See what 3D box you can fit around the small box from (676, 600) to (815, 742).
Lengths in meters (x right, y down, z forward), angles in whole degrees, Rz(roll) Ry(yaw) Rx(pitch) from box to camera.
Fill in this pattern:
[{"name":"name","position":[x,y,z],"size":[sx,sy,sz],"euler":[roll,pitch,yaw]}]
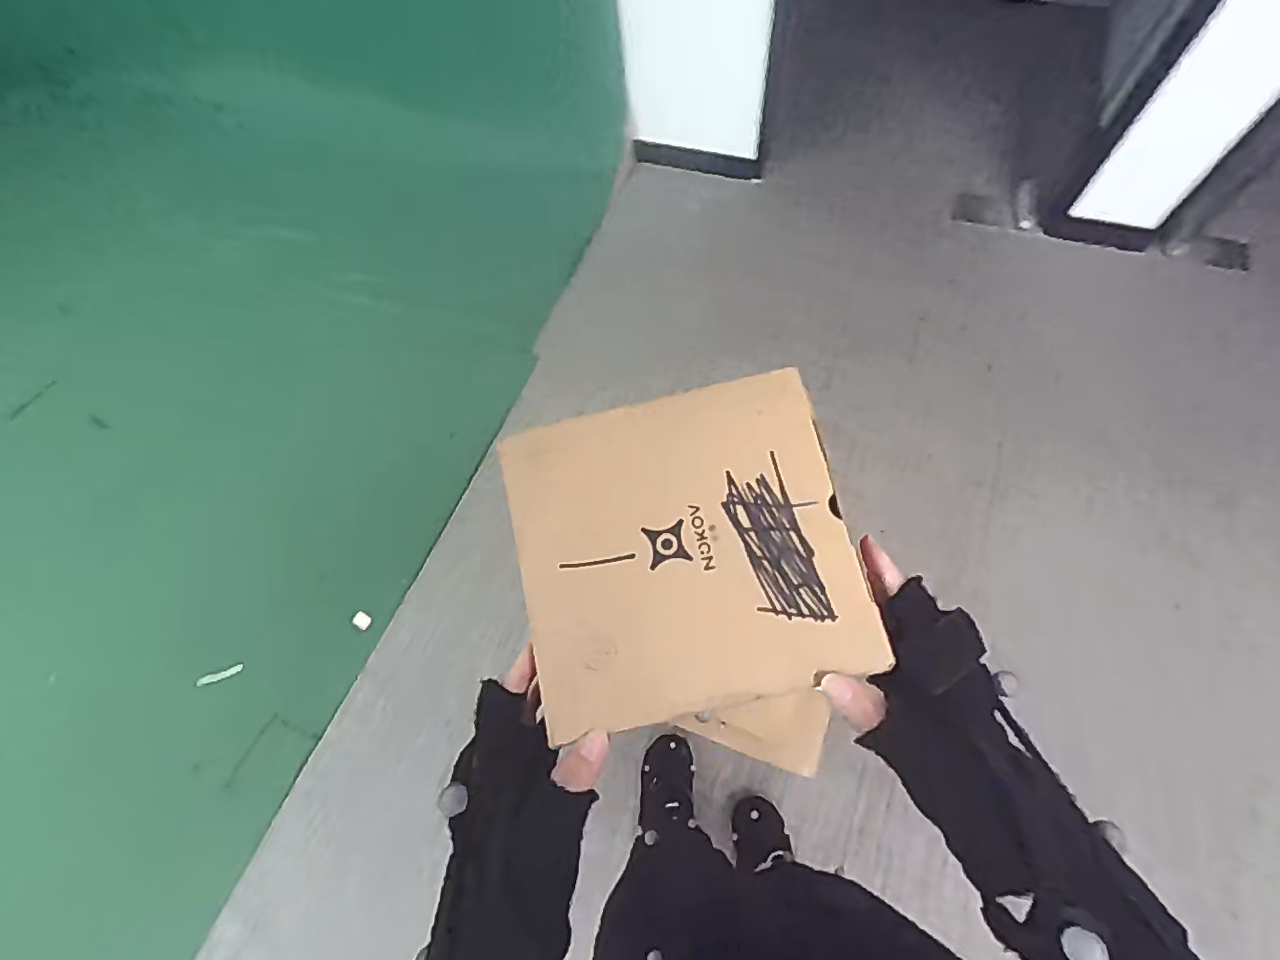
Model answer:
[{"name":"small box","position":[0.173,0.323,0.916],"size":[0.179,0.176,0.168],"euler":[19,72,13]}]
